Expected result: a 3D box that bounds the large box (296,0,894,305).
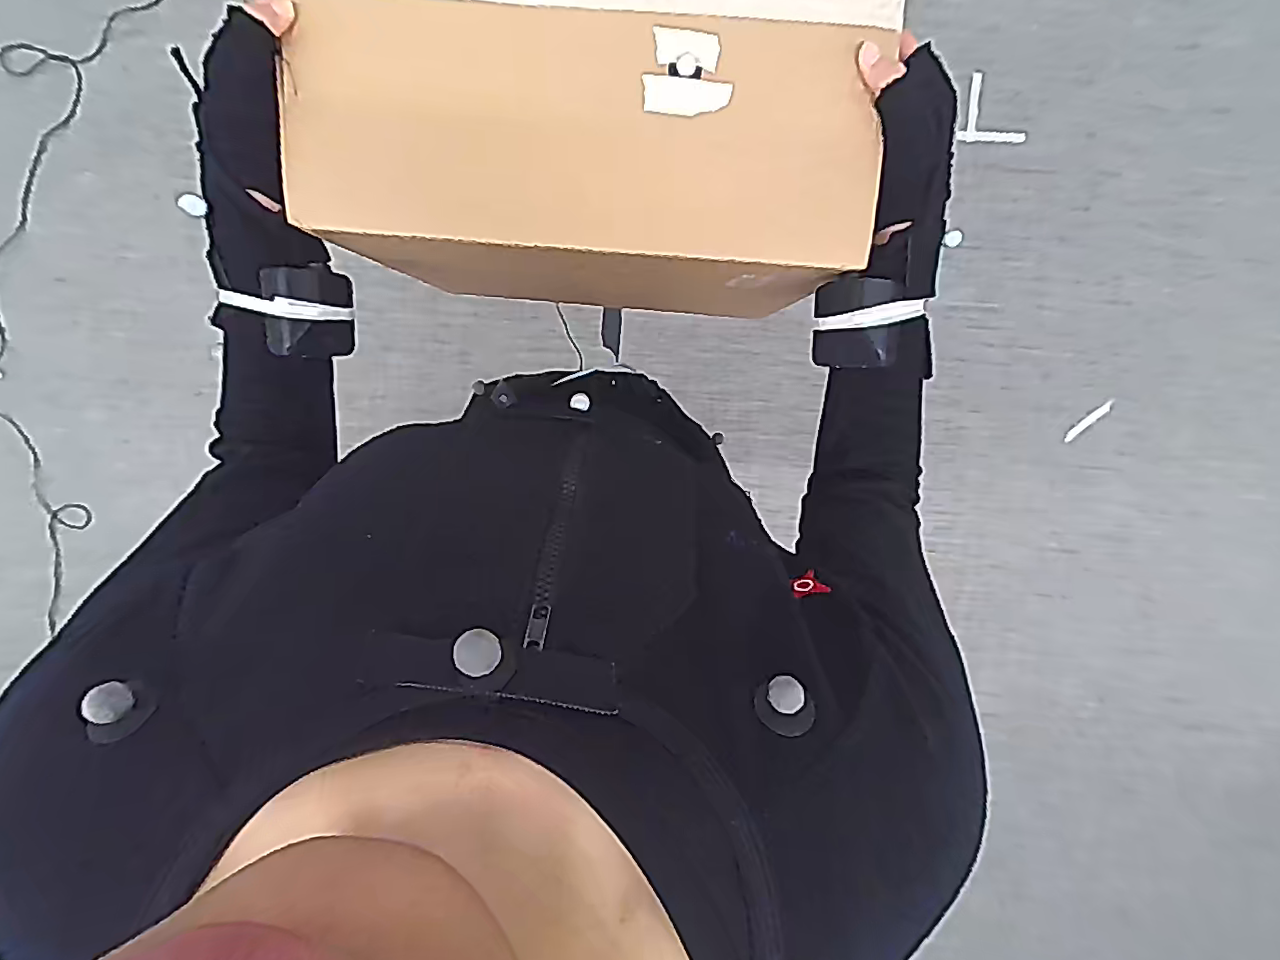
[{"bbox_3d":[-0.031,-0.351,0.504,0.408,0.320,0.320,4,102,-1],"label":"large box"}]
